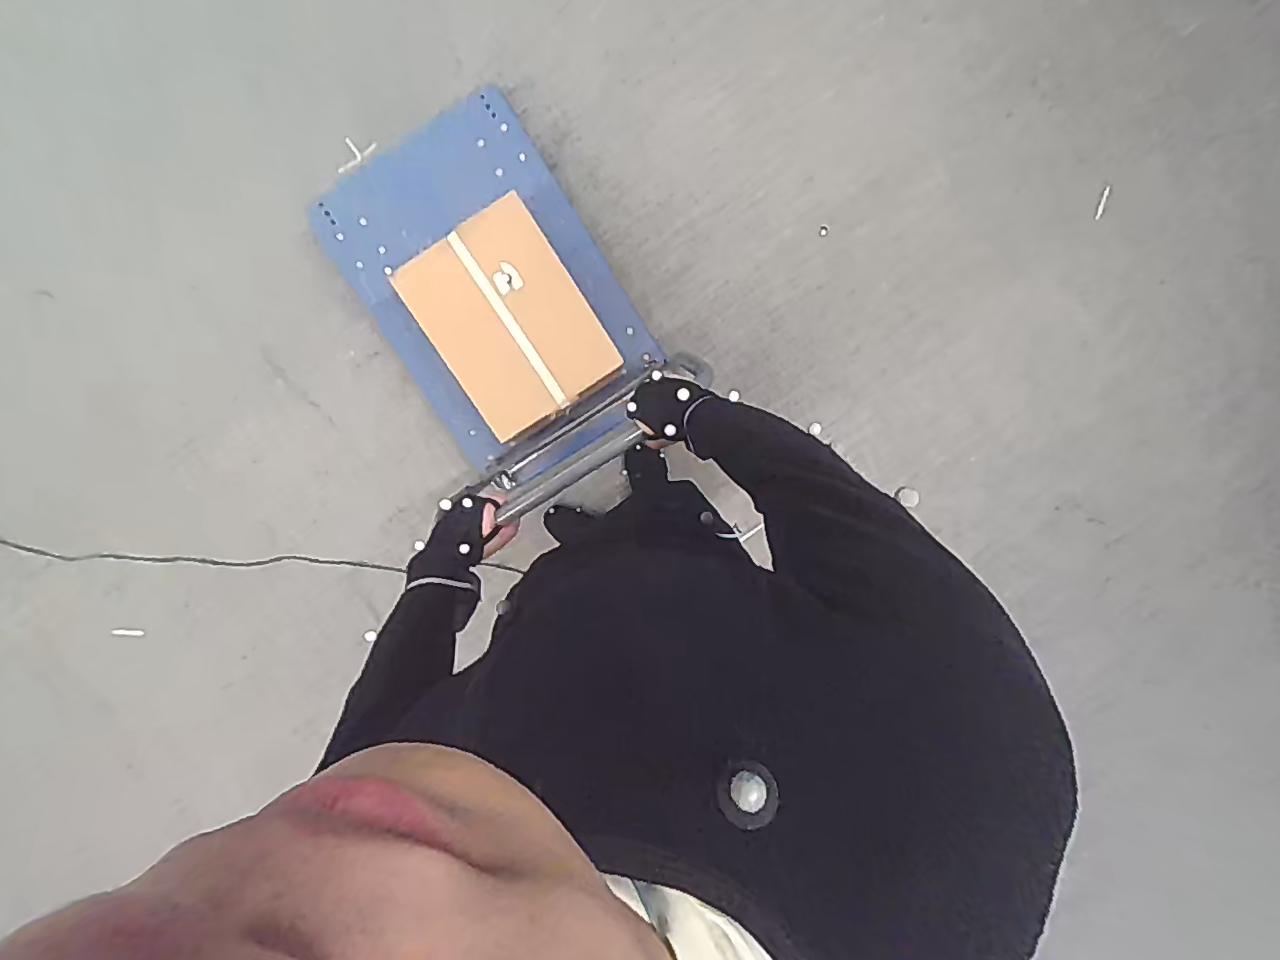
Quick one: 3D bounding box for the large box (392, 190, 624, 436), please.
[{"bbox_3d":[-0.269,-0.352,1.250,0.320,0.320,0.408,-33,97,1],"label":"large box"}]
